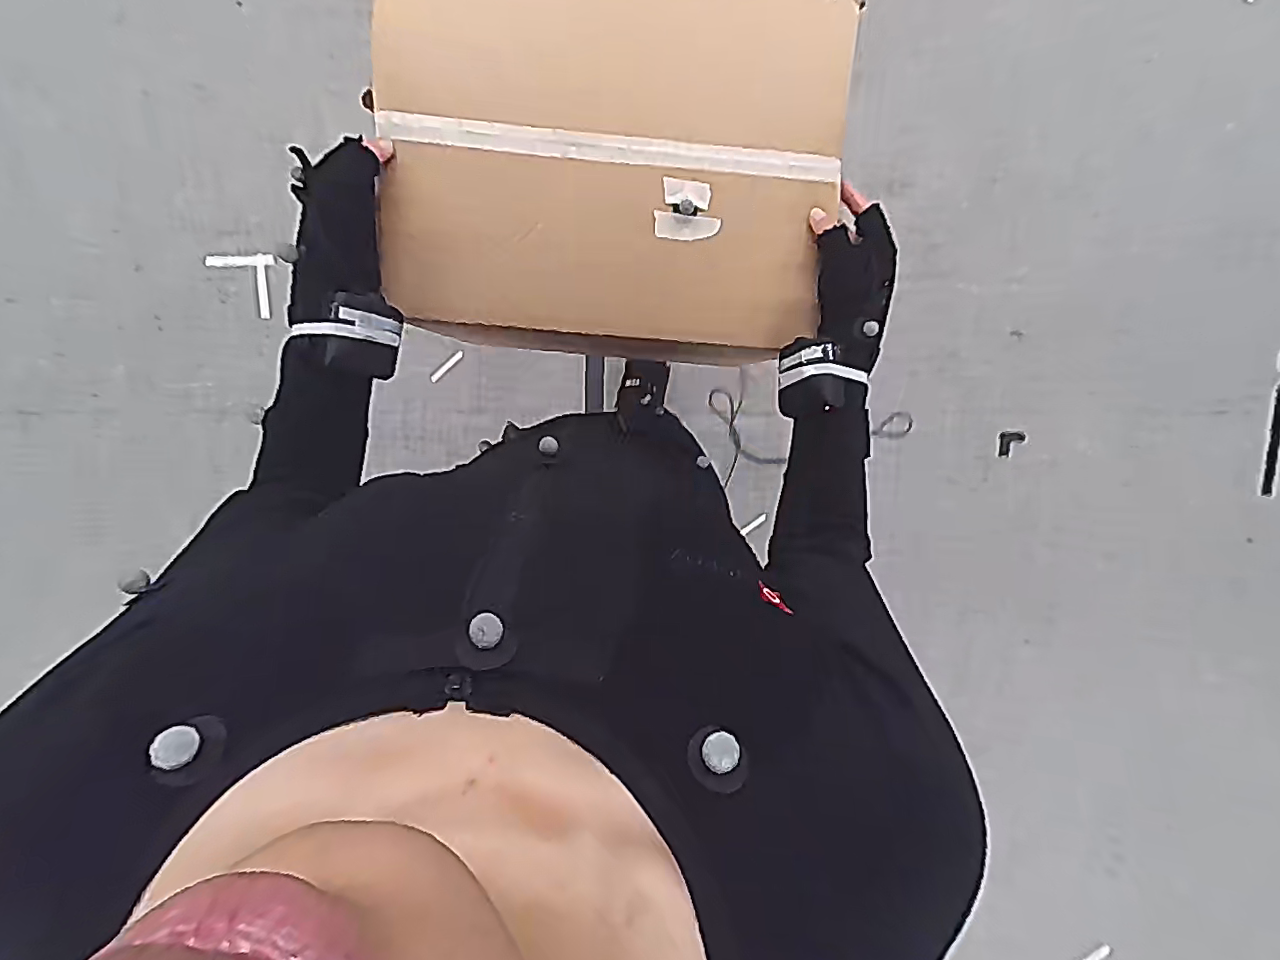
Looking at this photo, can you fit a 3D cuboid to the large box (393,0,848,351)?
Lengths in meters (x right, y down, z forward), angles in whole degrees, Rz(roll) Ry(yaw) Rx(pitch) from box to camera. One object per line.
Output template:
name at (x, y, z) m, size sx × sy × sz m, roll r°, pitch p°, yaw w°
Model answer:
large box at (-0.030, -0.329, 0.637) m, size 0.408 × 0.320 × 0.320 m, roll 3°, pitch 100°, yaw -5°
